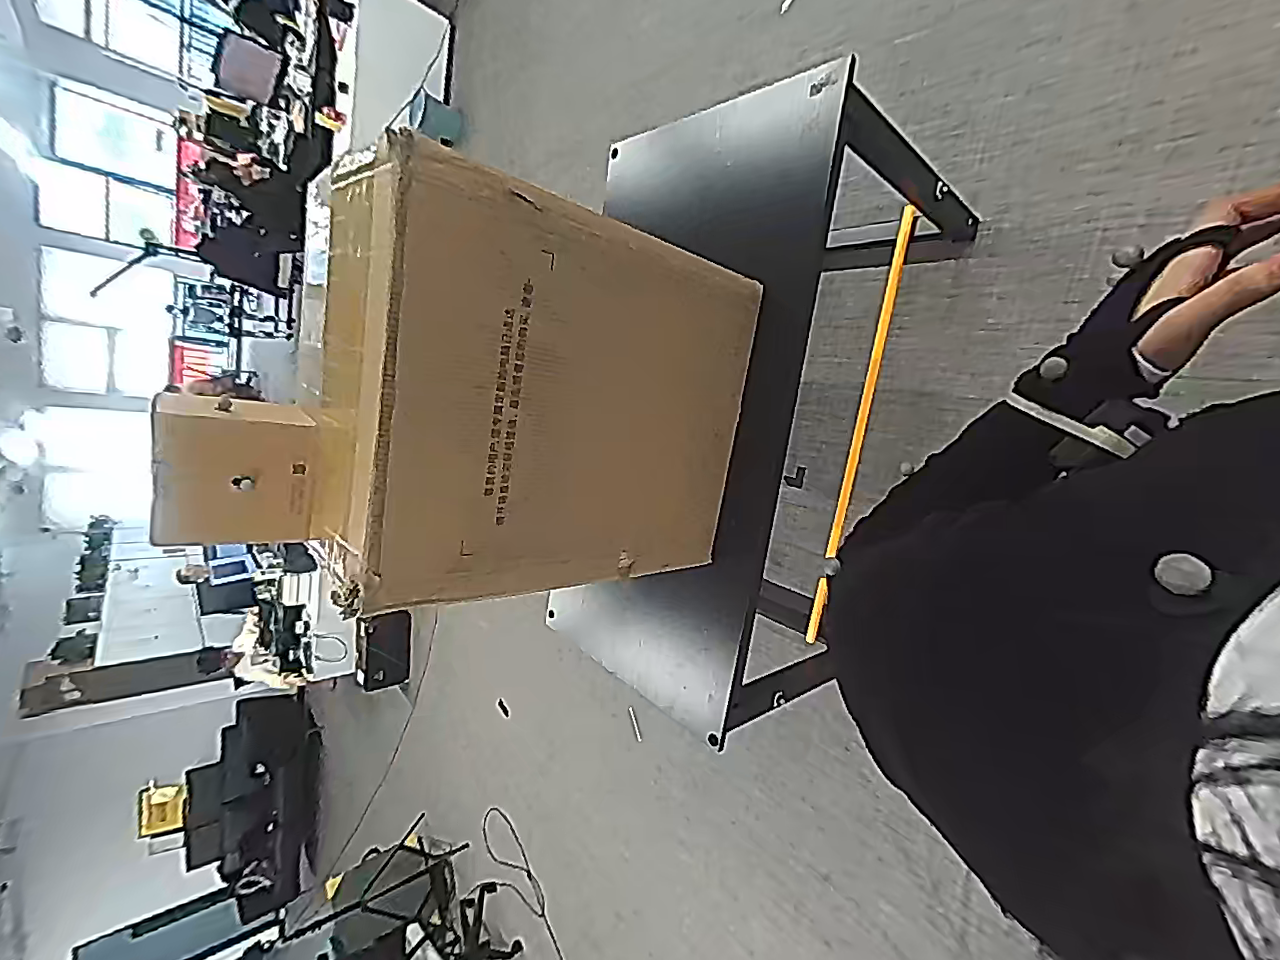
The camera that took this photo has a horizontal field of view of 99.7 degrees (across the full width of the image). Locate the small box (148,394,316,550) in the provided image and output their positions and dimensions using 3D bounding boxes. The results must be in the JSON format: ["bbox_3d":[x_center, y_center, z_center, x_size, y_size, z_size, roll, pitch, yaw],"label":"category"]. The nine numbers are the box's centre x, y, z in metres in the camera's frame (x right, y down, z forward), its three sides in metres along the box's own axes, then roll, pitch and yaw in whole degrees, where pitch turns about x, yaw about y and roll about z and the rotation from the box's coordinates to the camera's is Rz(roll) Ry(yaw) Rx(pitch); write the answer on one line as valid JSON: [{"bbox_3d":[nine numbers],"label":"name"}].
[{"bbox_3d":[-0.555,-0.016,0.737,0.179,0.176,0.168,22,104,47],"label":"small box"}]
